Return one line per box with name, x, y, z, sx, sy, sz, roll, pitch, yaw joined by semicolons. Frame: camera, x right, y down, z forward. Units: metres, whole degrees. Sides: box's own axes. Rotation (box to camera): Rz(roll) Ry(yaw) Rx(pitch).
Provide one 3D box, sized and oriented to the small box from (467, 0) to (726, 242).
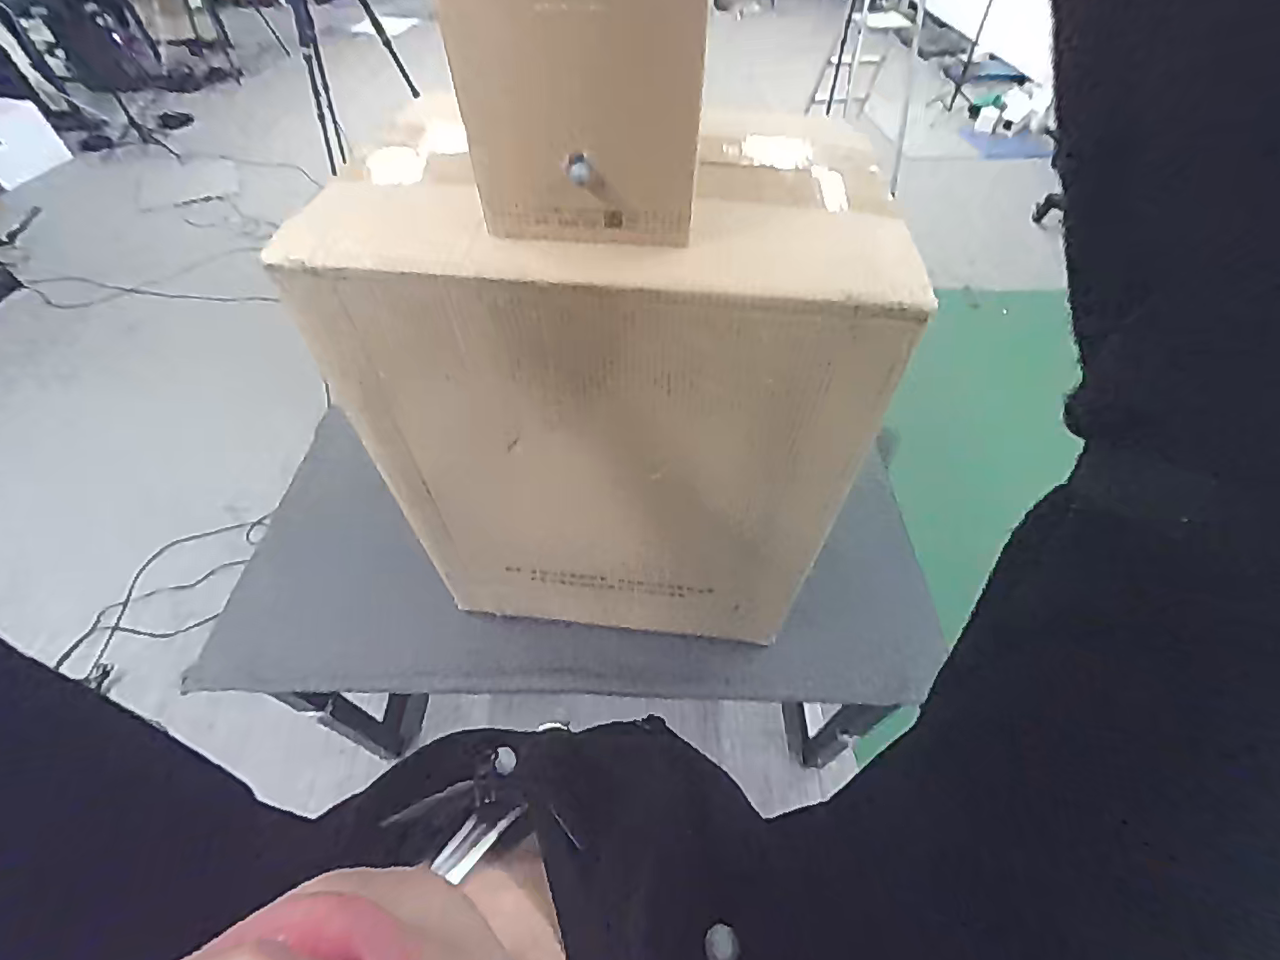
small box;-0.024;-0.317;0.429;0.168;0.176;0.179;5;53;3
